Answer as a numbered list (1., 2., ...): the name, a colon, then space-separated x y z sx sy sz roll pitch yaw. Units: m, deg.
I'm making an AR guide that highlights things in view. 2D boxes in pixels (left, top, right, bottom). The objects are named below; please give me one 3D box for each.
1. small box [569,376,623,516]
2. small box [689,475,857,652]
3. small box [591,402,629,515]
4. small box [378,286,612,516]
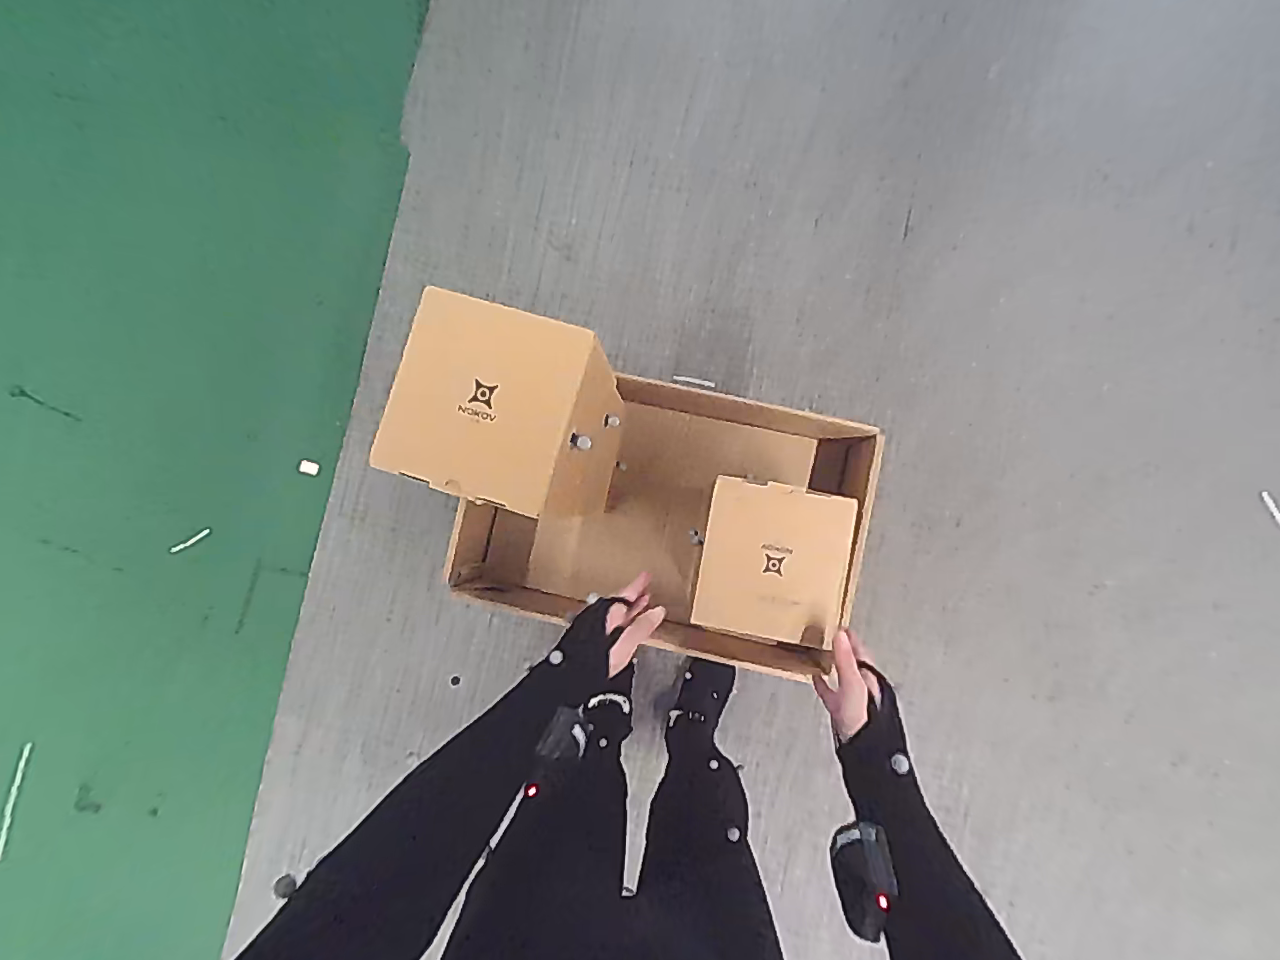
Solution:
1. small box: -0.125 -0.057 0.728 0.168 0.176 0.179 16 87 5
2. small box: 0.159 0.100 0.700 0.168 0.176 0.179 12 87 5
3. small box: -0.117 -0.045 0.892 0.168 0.176 0.179 14 87 4
4. small box: -0.132 -0.068 0.567 0.168 0.176 0.179 17 87 4
